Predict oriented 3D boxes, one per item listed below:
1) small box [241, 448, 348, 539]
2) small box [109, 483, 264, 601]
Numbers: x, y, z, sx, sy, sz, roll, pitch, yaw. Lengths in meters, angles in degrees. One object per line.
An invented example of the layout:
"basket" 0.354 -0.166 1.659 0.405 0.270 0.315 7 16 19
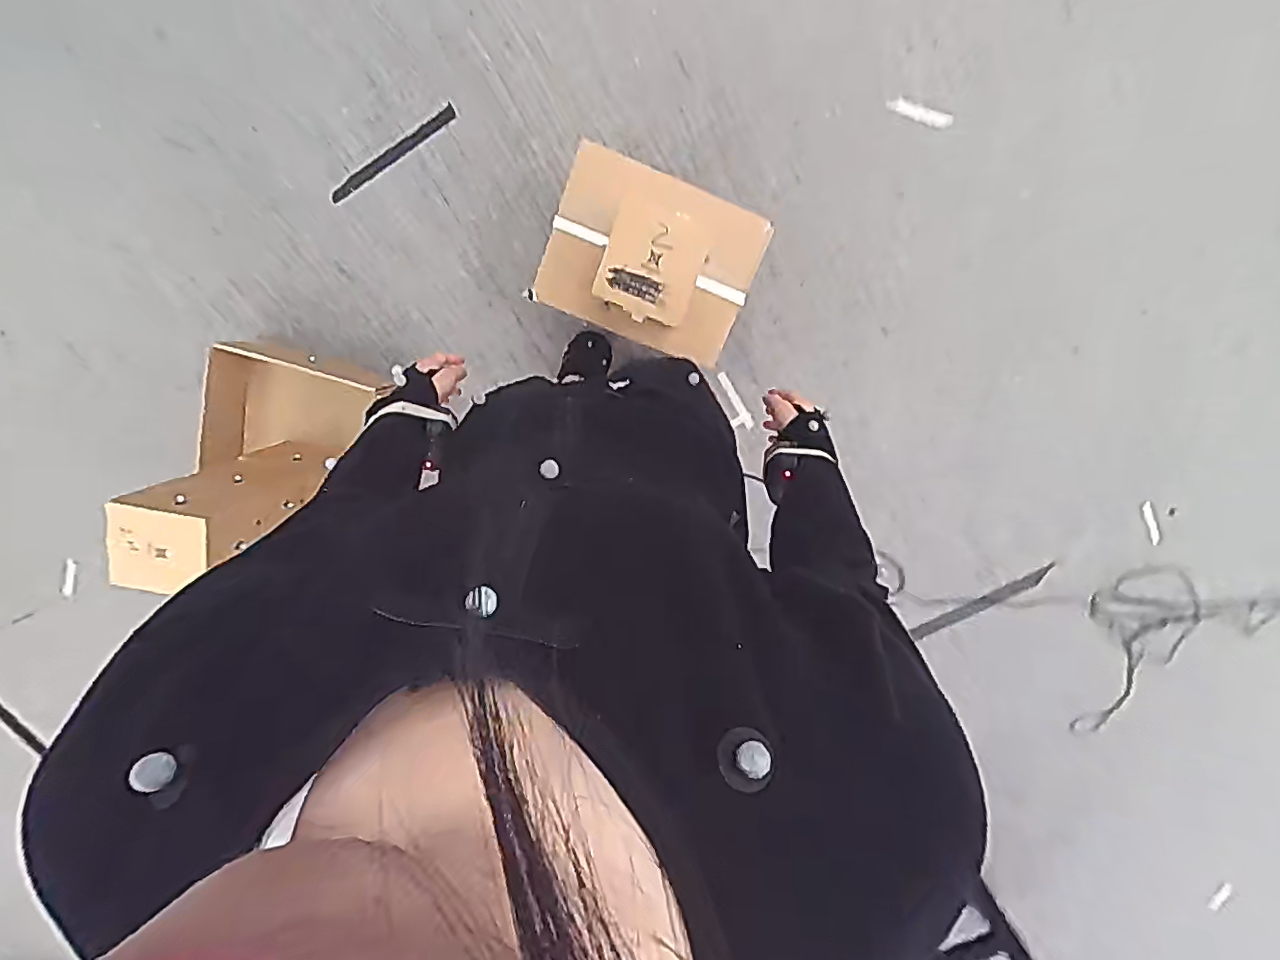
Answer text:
"small box" -0.883 0.027 1.379 0.179 0.176 0.168 16 105 -6
"small box" -0.878 0.114 1.063 0.179 0.176 0.168 11 103 -5
